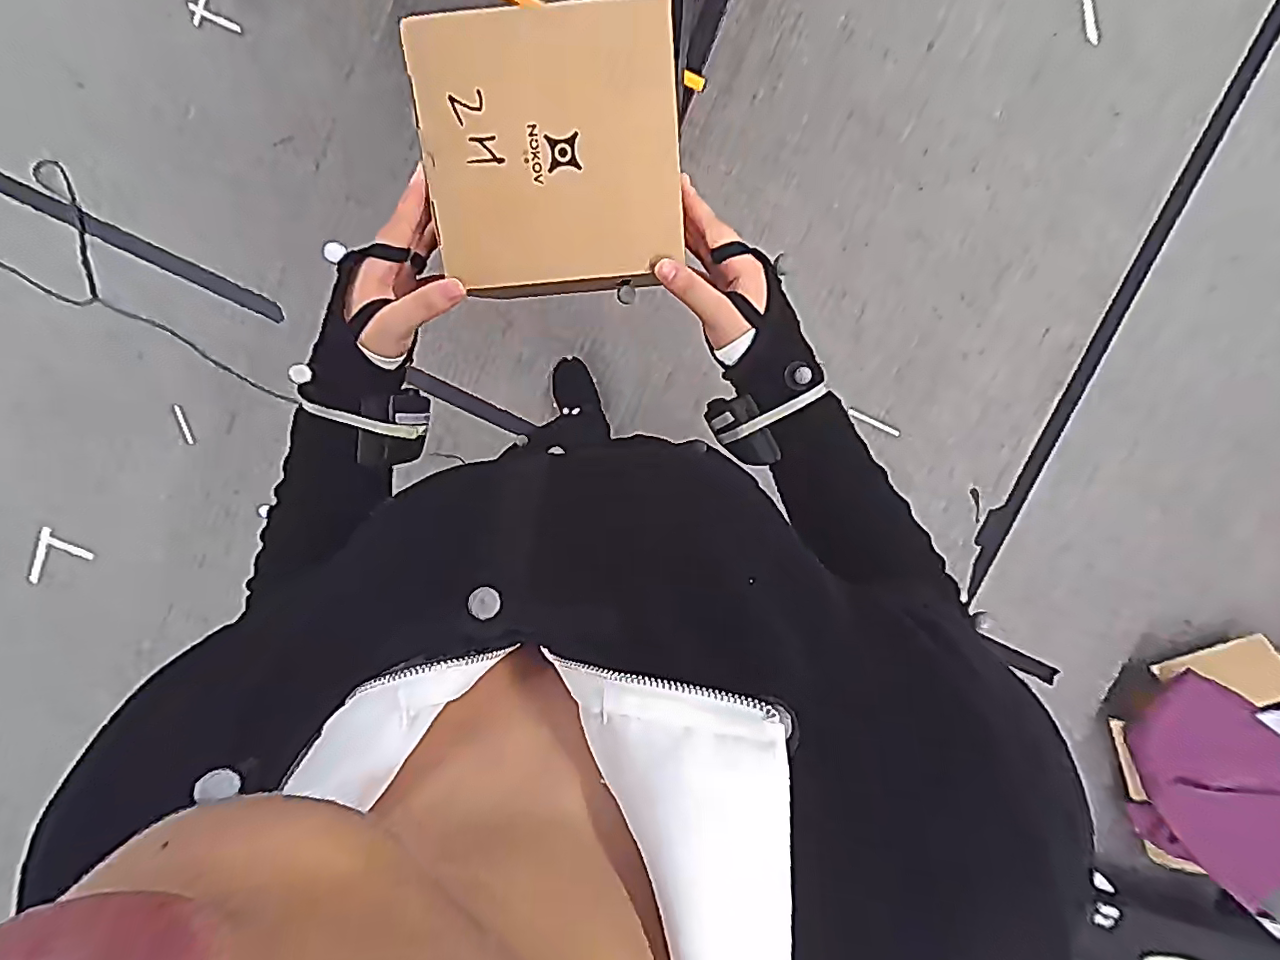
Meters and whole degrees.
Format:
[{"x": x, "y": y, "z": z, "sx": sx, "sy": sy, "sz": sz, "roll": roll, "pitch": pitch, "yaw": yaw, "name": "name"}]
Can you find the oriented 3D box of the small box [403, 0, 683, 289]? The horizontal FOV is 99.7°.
[{"x": -0.063, "y": -0.251, "z": 0.445, "sx": 0.179, "sy": 0.176, "sz": 0.168, "roll": -4, "pitch": 107, "yaw": 0, "name": "small box"}]
